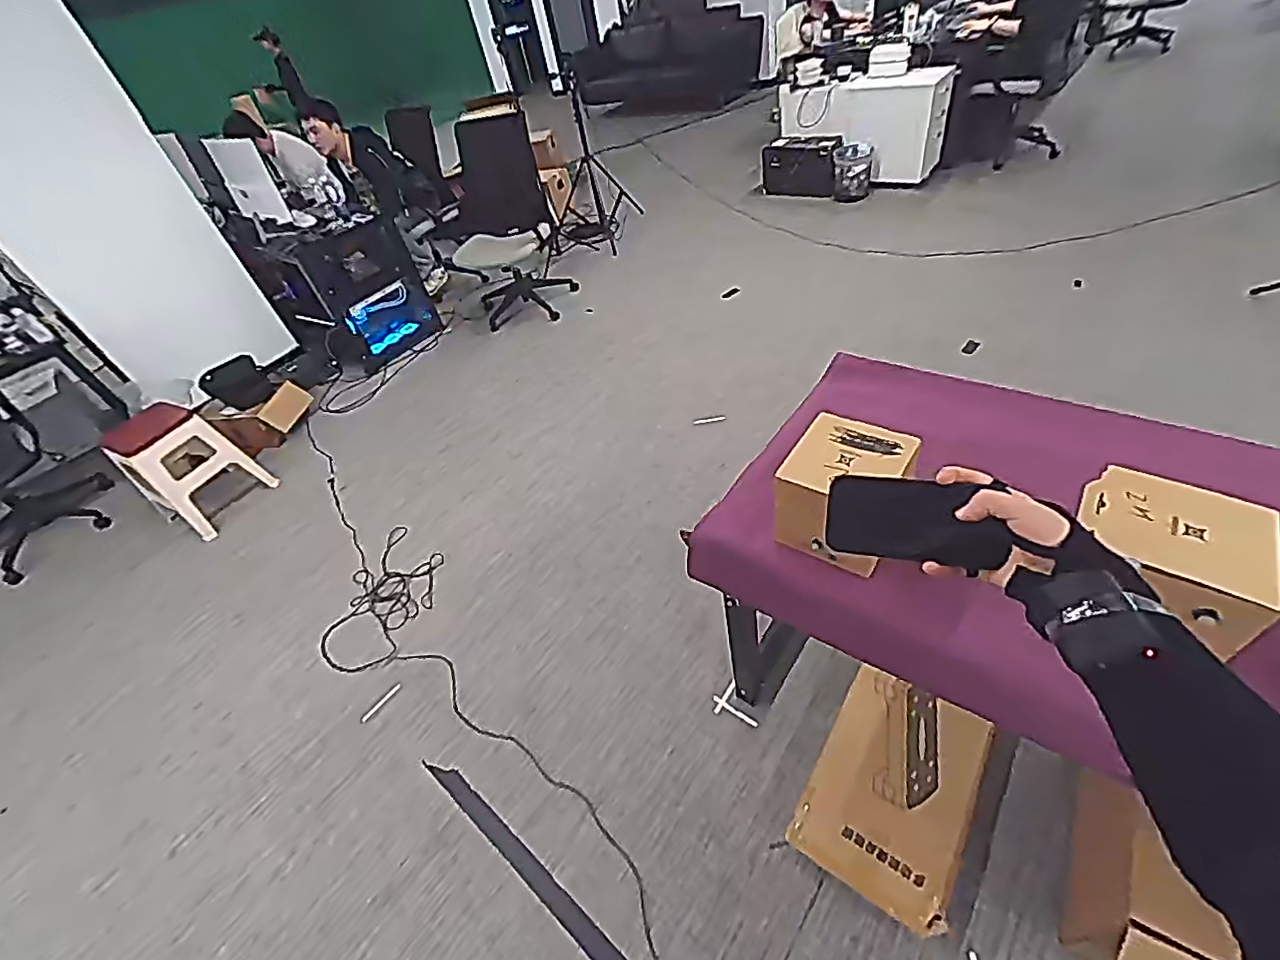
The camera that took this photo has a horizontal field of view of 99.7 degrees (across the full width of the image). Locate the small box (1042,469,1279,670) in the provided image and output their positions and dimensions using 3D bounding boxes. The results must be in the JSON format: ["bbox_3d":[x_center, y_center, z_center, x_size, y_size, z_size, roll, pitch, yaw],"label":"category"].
[{"bbox_3d":[0.668,0.119,0.706,0.179,0.176,0.168,21,52,31],"label":"small box"}]
